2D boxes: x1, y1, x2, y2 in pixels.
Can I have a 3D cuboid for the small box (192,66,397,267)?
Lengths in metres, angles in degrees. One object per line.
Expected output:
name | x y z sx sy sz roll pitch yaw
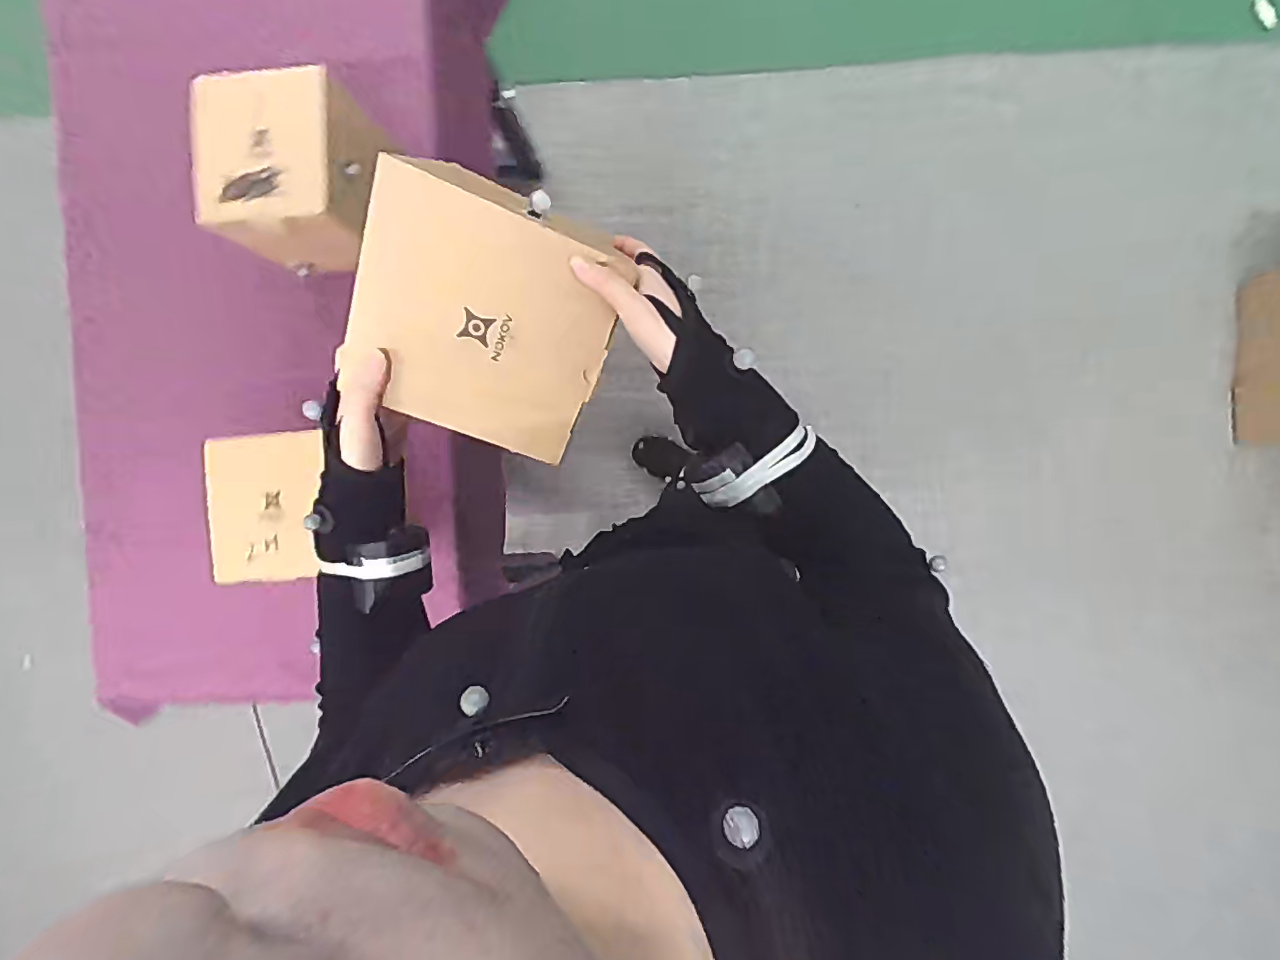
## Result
small box | -0.443 -0.396 0.718 0.168 0.176 0.179 -1 91 5

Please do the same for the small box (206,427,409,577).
small box | -0.432 0.027 0.727 0.168 0.176 0.179 -4 91 6
